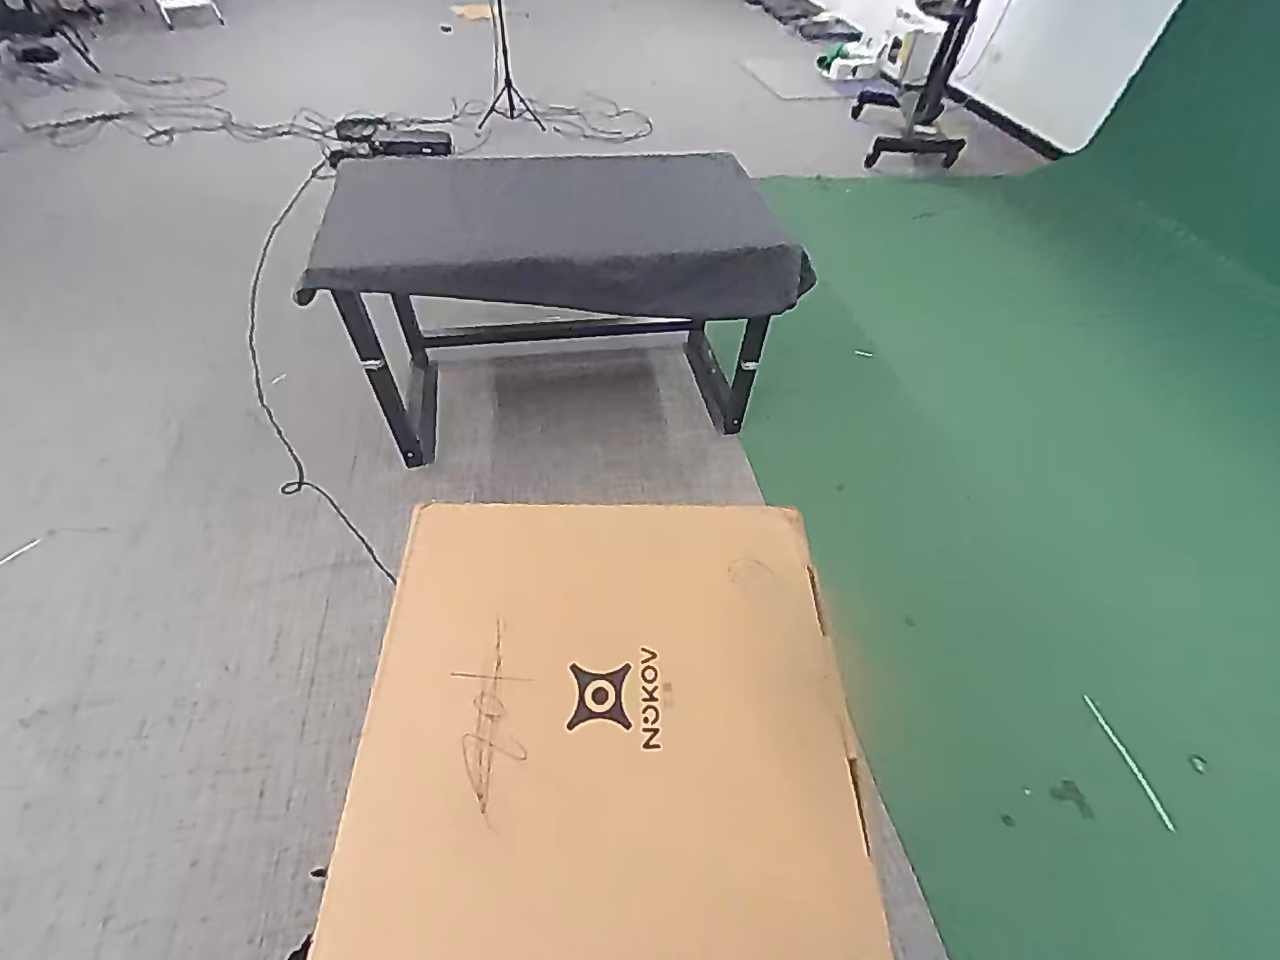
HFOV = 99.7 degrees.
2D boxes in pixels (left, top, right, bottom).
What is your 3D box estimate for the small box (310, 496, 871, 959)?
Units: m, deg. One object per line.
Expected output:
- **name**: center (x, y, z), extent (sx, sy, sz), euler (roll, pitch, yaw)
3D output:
- **small box**: center (-0.017, 0.121, 0.275), extent (0.179, 0.176, 0.168), euler (-1, 56, -2)
